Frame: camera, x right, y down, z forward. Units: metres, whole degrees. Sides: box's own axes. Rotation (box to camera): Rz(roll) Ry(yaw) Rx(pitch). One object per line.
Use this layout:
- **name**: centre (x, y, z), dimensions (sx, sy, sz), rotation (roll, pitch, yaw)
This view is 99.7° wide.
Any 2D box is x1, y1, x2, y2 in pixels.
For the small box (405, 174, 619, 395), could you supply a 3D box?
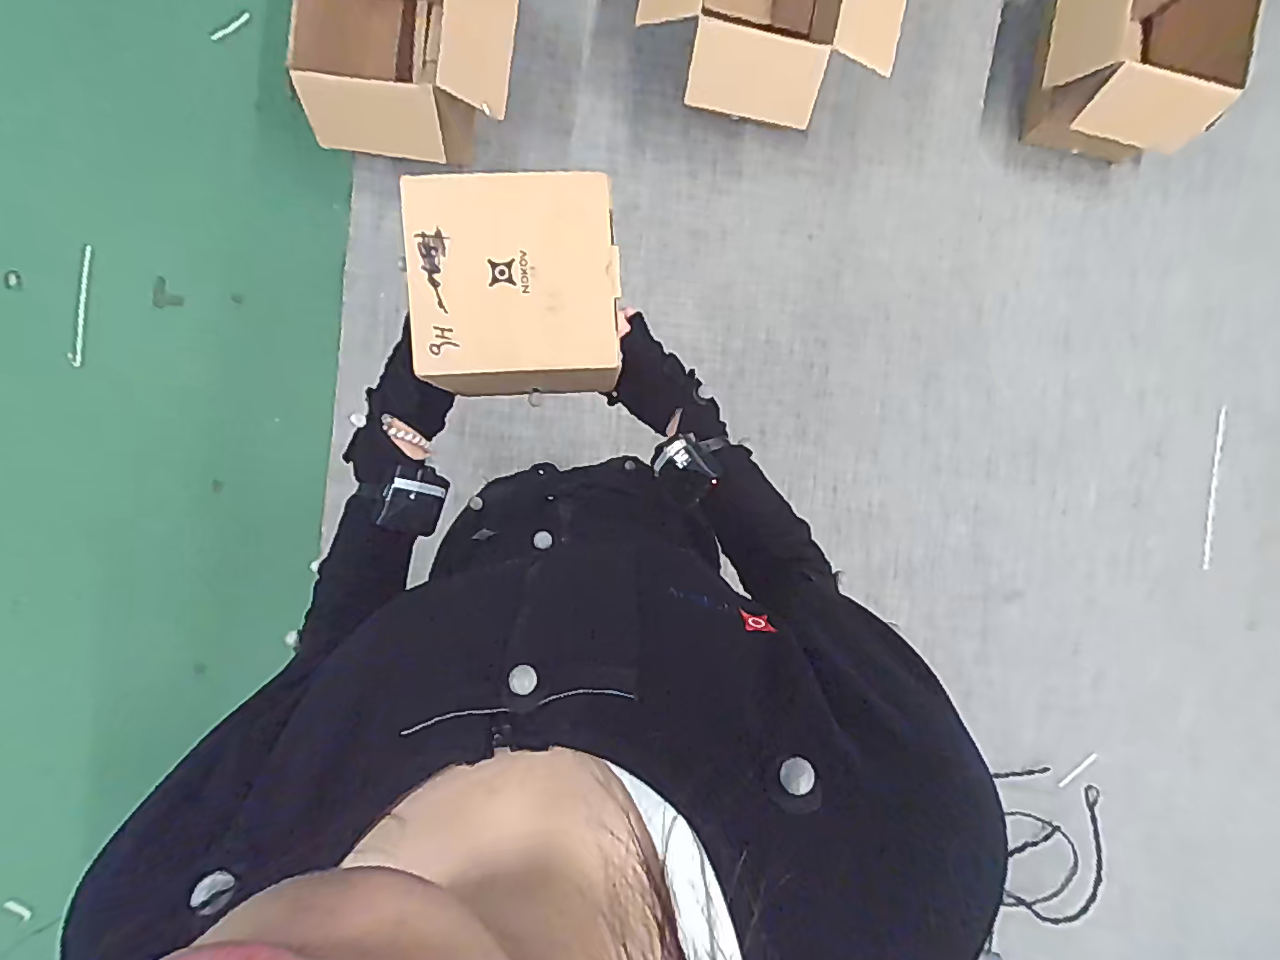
- **small box**: centre (-0.117, -0.178, 0.542), dimensions (0.179, 0.176, 0.168), rotation (-2, 92, -6)
